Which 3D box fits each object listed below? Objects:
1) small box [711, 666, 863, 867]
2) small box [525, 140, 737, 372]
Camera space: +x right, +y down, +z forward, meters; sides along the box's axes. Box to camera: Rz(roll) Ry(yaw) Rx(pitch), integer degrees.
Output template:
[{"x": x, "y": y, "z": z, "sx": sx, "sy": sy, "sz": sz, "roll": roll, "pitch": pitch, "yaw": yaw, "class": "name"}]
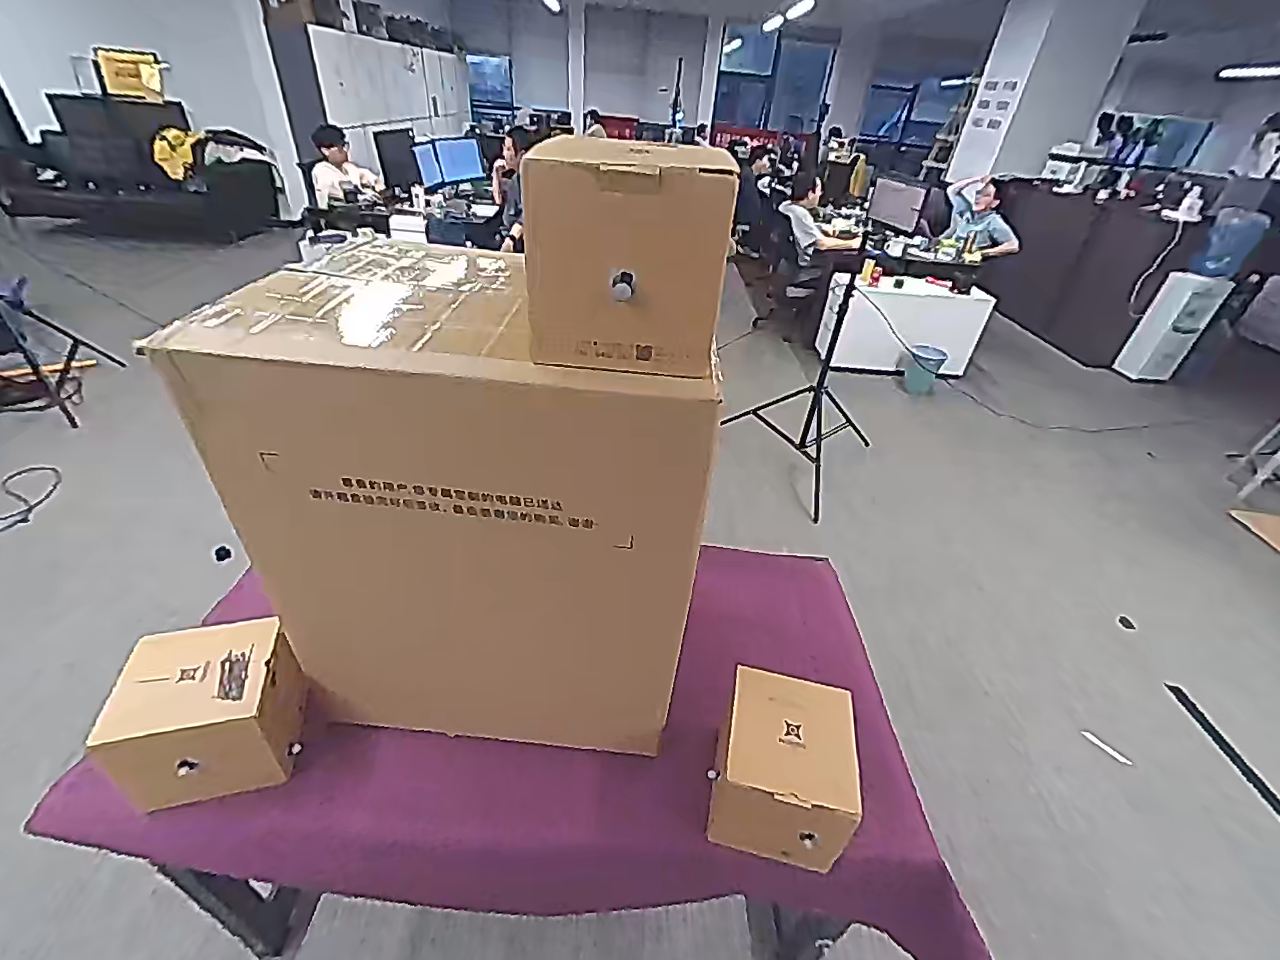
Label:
[{"x": 0.198, "y": 0.401, "z": 0.761, "sx": 0.168, "sy": 0.176, "sz": 0.179, "roll": 11, "pitch": 34, "yaw": 8, "class": "small box"}, {"x": -0.005, "y": -0.216, "z": 0.520, "sx": 0.168, "sy": 0.176, "sz": 0.179, "roll": 5, "pitch": 37, "yaw": 0, "class": "small box"}]
